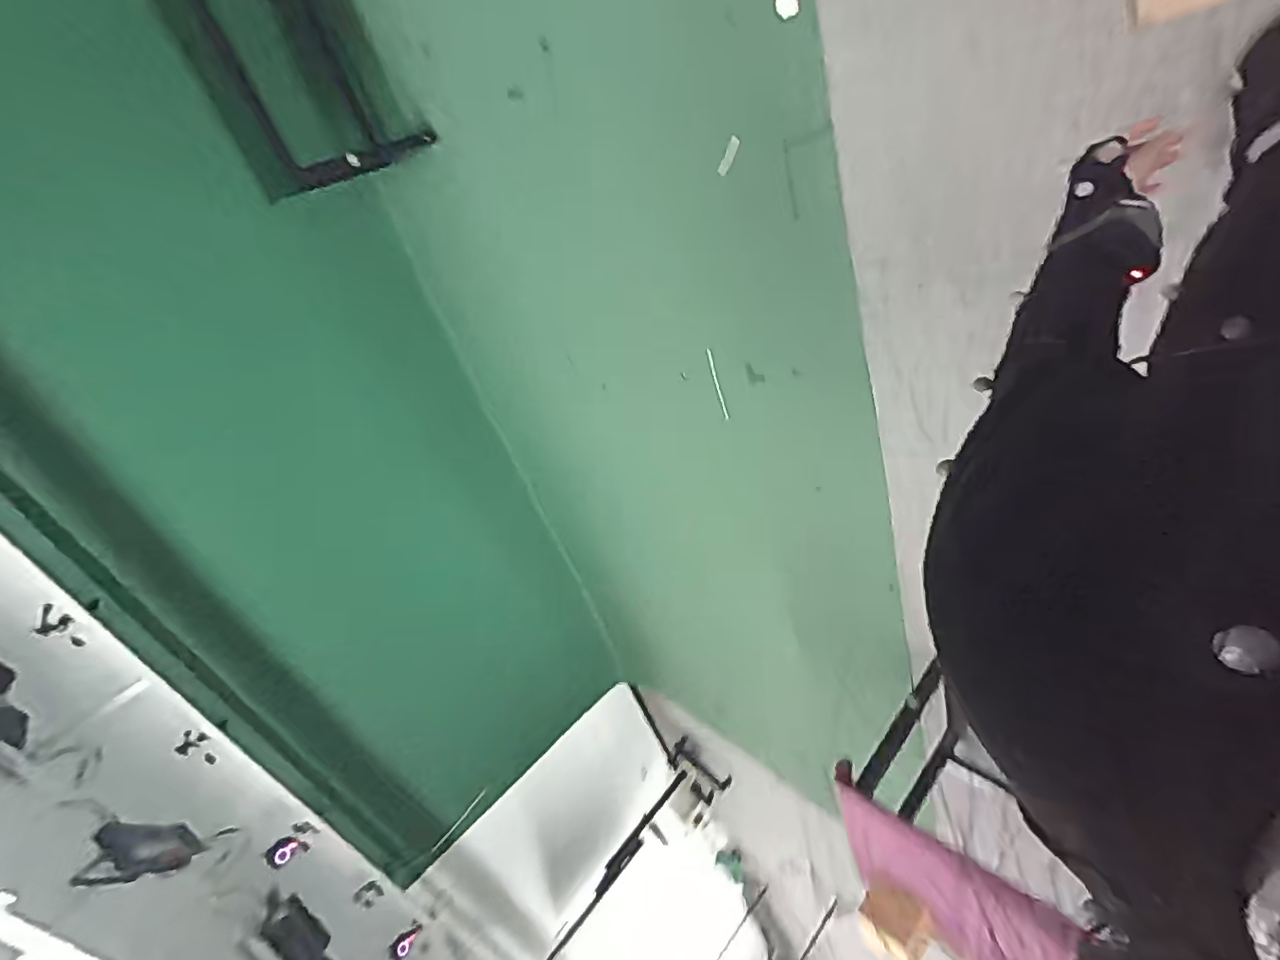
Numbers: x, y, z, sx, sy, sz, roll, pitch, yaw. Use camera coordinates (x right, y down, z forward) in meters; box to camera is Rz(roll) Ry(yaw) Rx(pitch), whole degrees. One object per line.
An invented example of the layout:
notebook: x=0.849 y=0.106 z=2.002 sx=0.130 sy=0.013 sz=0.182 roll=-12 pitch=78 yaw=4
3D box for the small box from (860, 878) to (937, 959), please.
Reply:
small box: x=0.861 y=1.484 z=1.789 sx=0.168 sy=0.176 sz=0.179 roll=9 pitch=128 yaw=50
